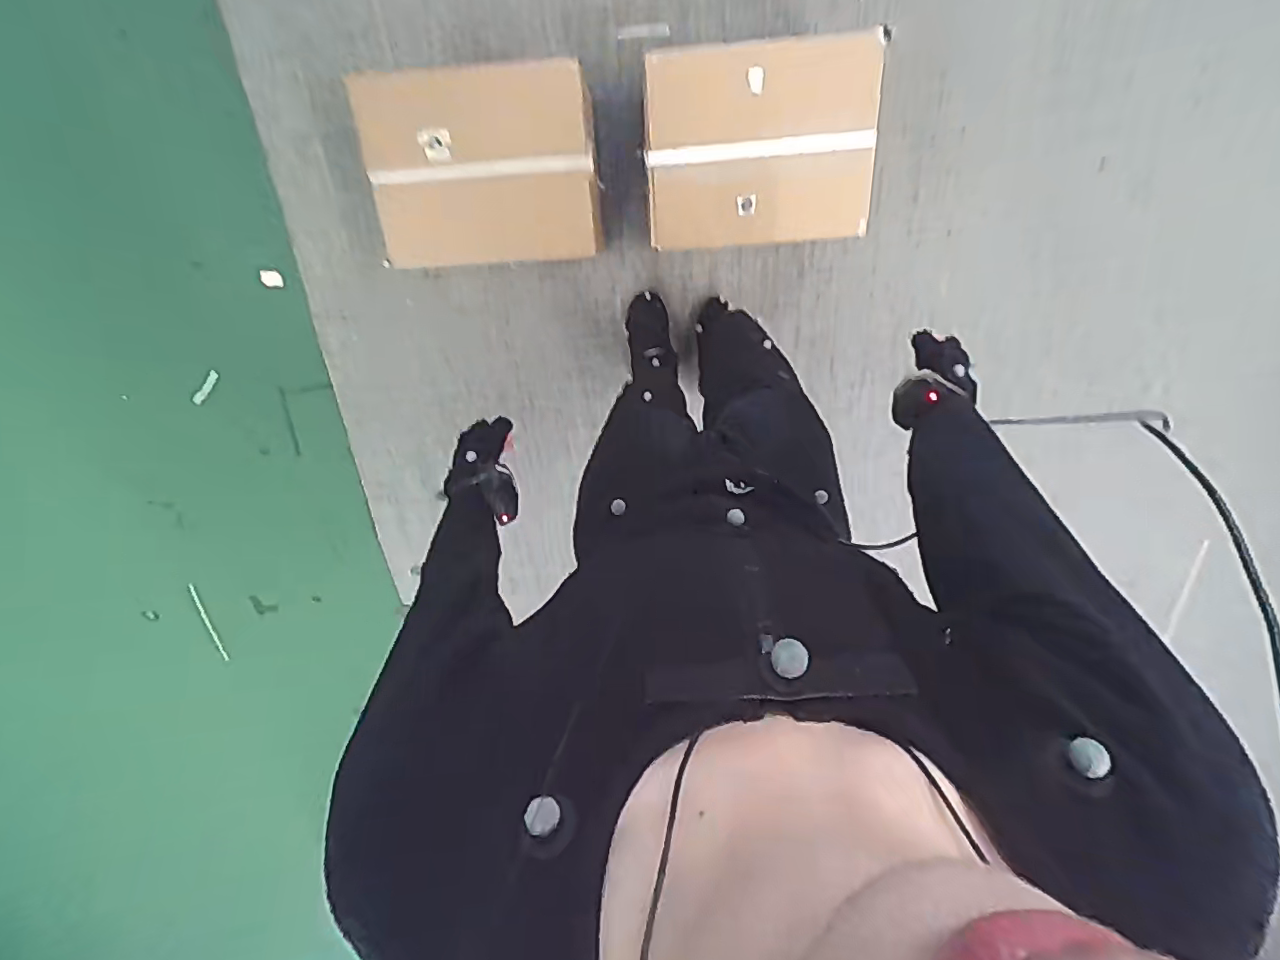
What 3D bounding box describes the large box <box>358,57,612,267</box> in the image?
[{"bbox_3d":[-0.279,-0.628,1.121,0.408,0.320,0.320,-2,113,3],"label":"large box"}]
